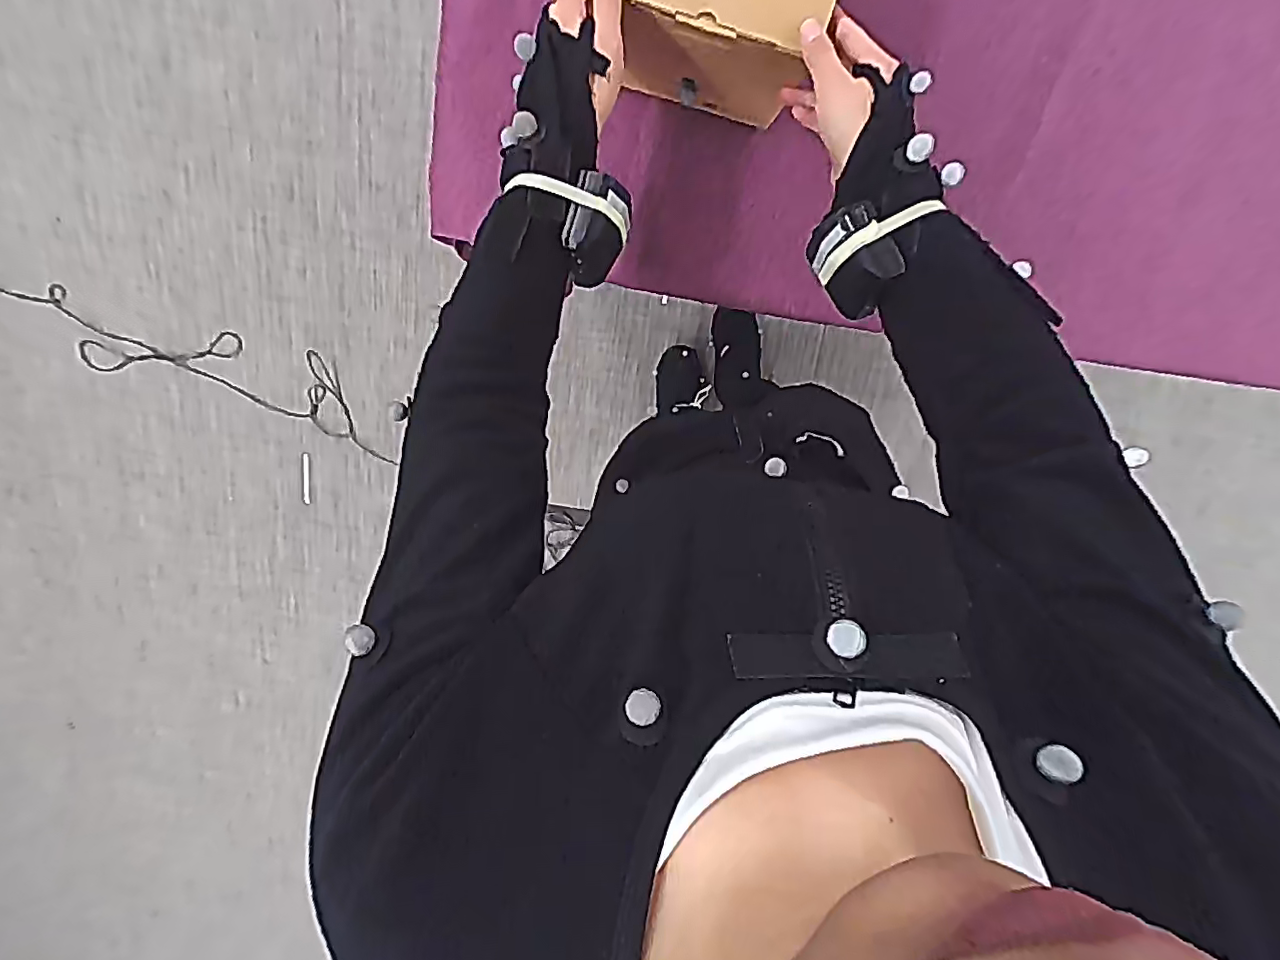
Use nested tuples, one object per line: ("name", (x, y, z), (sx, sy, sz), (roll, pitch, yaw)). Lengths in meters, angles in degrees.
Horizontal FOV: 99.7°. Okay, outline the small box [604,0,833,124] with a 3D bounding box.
("small box", (0.067, -0.423, 0.426), (0.168, 0.176, 0.179), (14, 108, -4))
